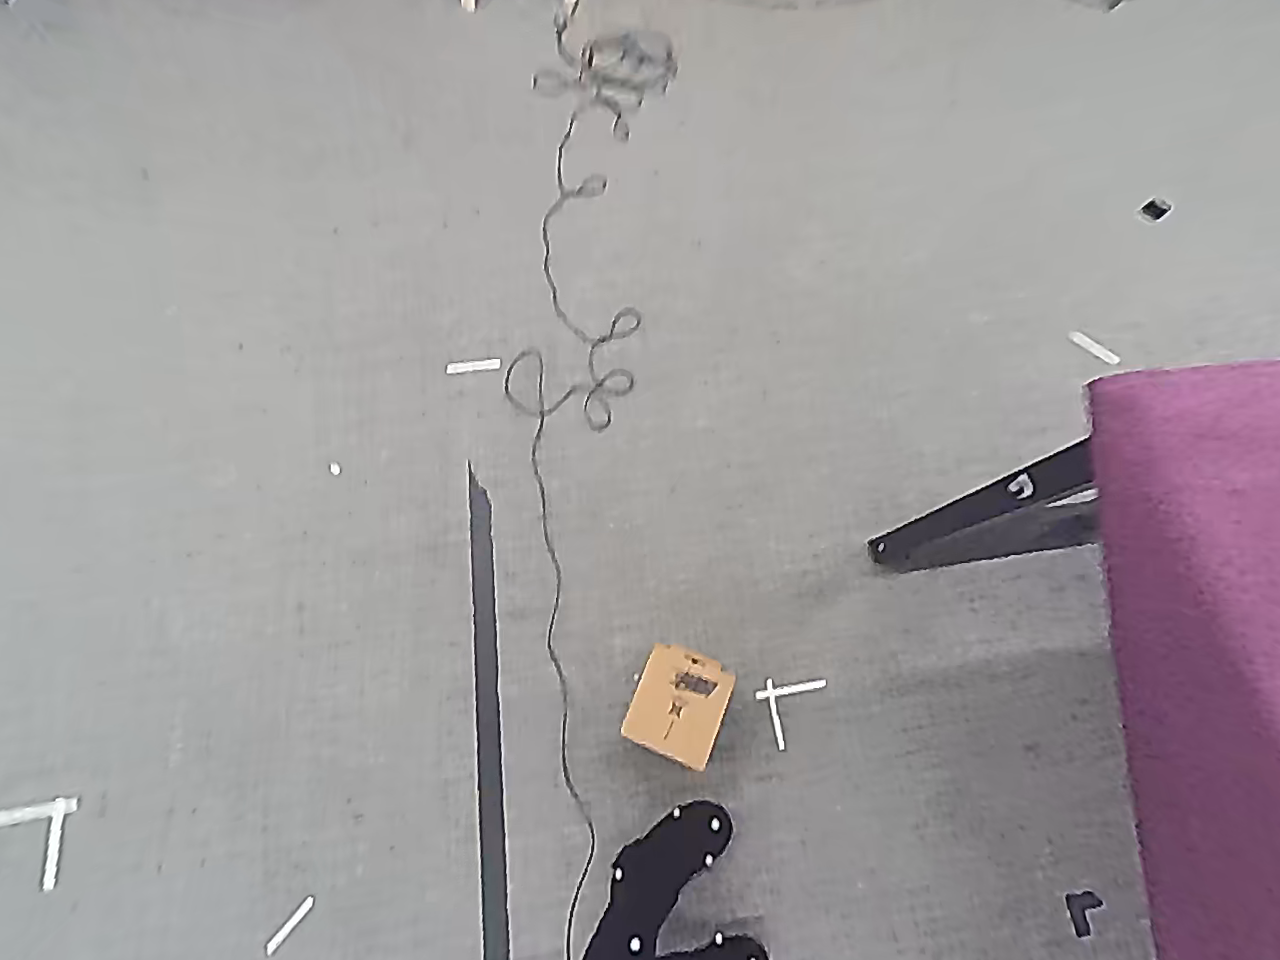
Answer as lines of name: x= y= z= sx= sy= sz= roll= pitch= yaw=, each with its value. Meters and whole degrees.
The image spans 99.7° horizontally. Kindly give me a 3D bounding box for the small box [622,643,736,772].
small box: x=0.071 y=0.439 z=1.068 sx=0.168 sy=0.176 sz=0.179 roll=22 pitch=74 yaw=7
